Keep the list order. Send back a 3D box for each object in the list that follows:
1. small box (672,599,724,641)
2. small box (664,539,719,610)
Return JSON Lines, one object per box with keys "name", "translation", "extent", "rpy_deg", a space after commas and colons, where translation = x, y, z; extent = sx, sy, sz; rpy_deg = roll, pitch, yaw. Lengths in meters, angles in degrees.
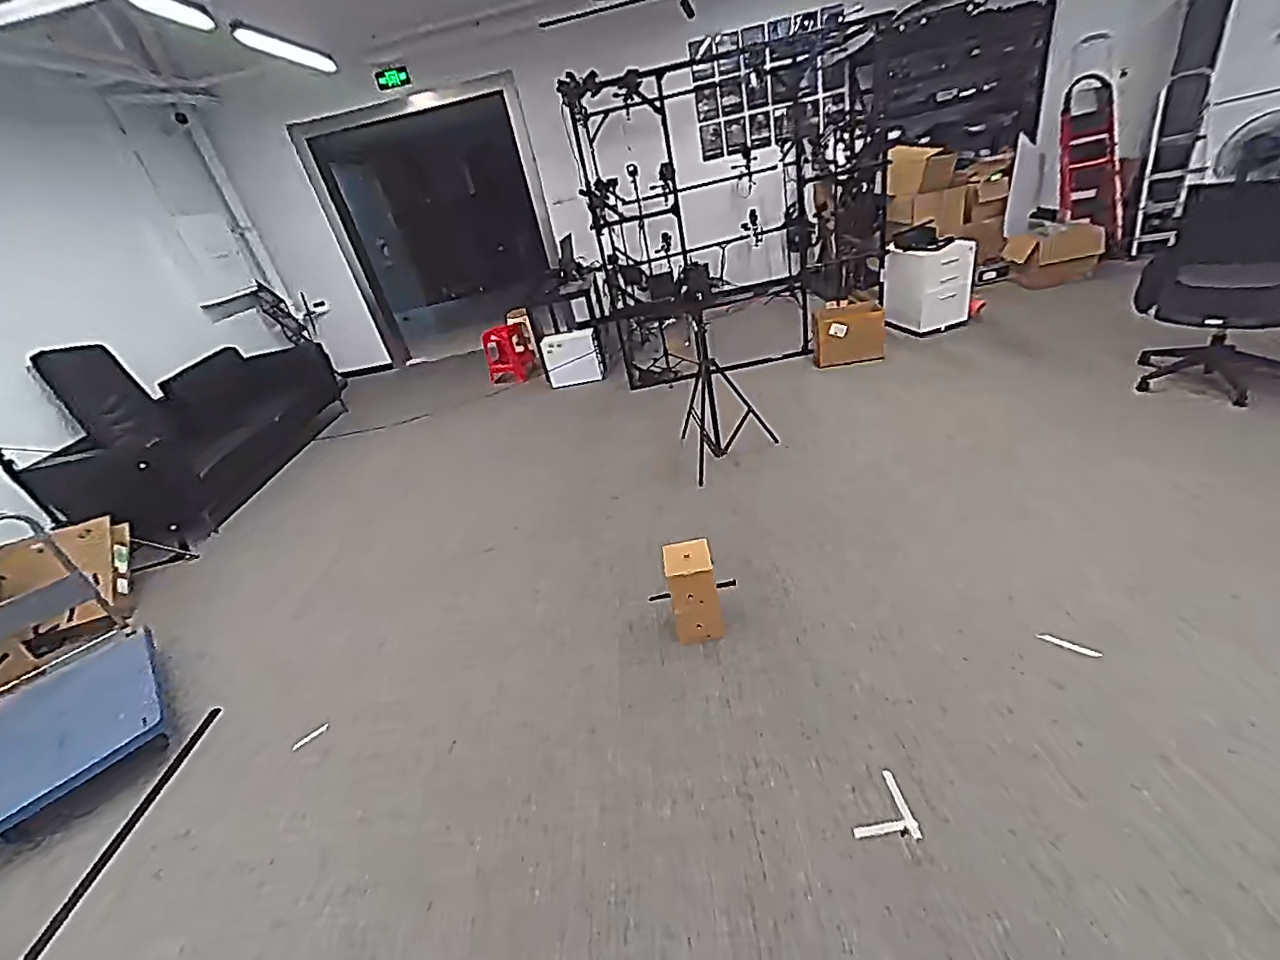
{"name": "small box", "translation": [0.215, 0.485, 2.032], "extent": [0.168, 0.176, 0.179], "rpy_deg": [-12, 29, 2]}
{"name": "small box", "translation": [0.185, 0.342, 1.959], "extent": [0.168, 0.176, 0.179], "rpy_deg": [-11, 30, 4]}
